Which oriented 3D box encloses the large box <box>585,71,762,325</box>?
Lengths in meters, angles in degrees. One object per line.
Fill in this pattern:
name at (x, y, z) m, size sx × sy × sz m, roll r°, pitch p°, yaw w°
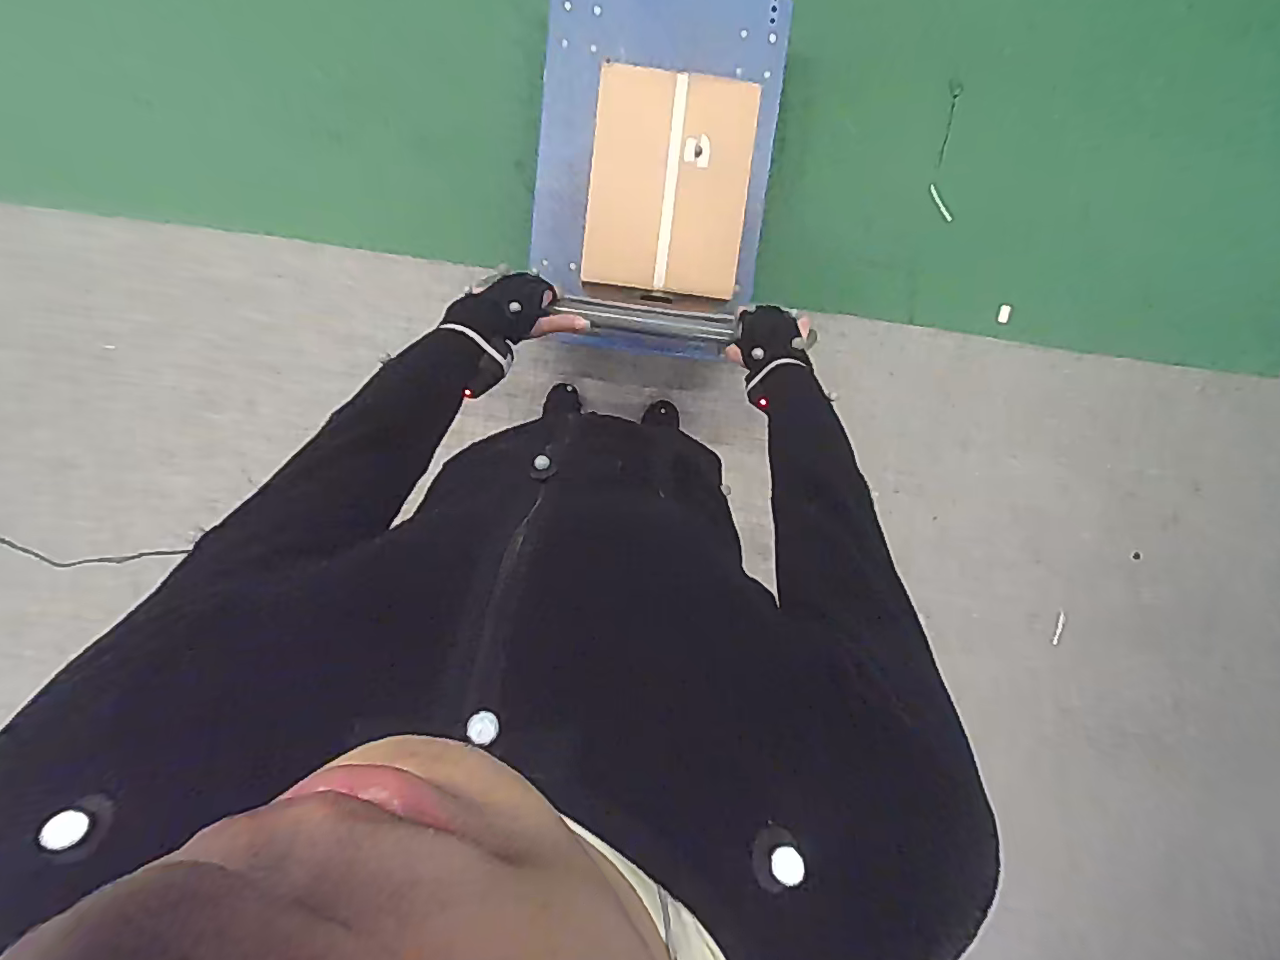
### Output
large box at (0.059, -0.583, 1.201) m, size 0.320 × 0.320 × 0.408 m, roll 7°, pitch 98°, yaw -4°
